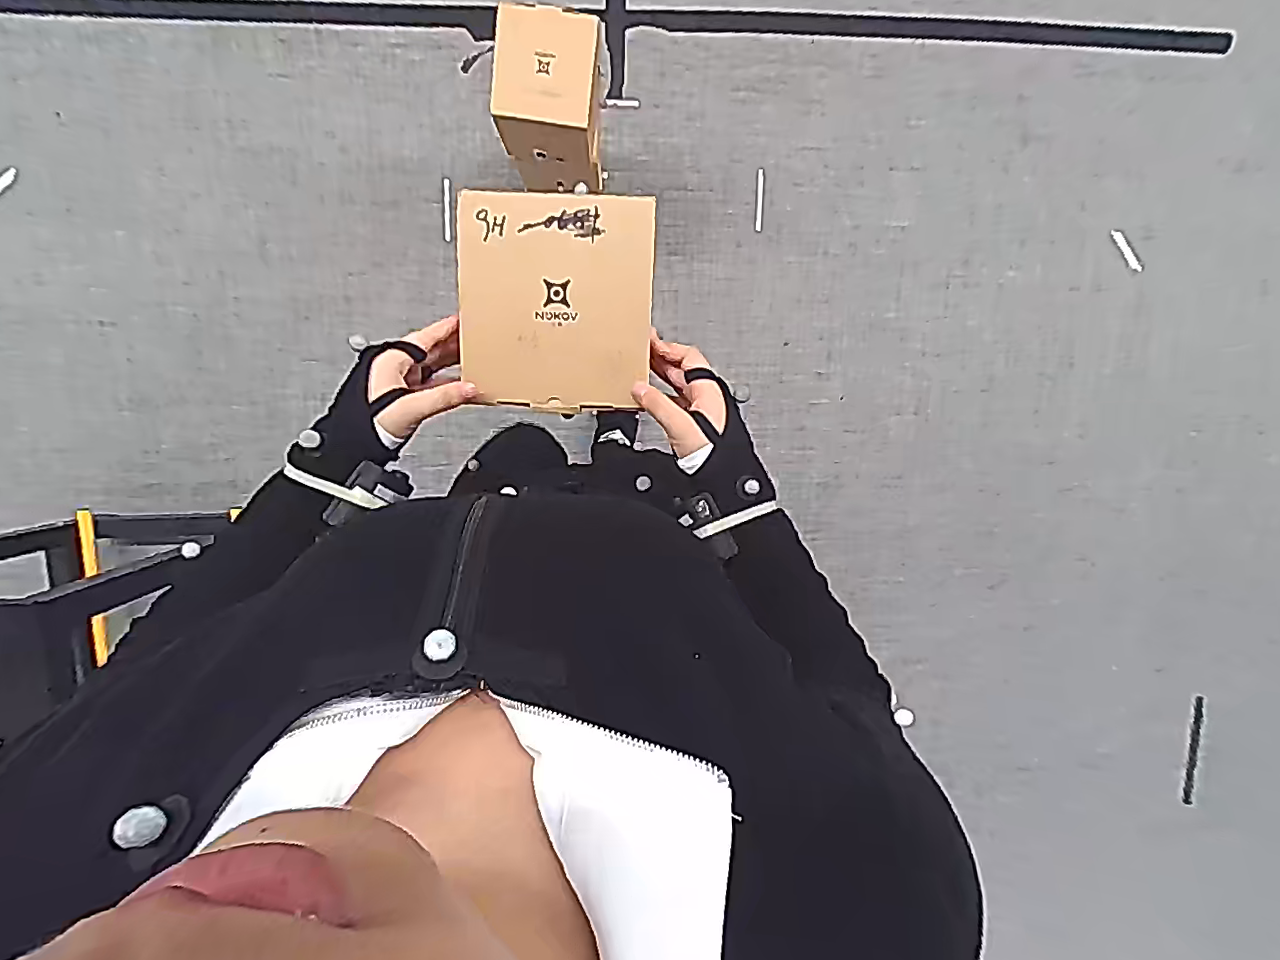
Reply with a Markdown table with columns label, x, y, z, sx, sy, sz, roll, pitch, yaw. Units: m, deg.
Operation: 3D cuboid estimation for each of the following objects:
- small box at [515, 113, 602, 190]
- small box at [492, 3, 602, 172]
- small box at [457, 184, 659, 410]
| label | x | y | z | sx | sy | sz | roll | pitch | yaw |
| --- | --- | --- | --- | --- | --- | --- | --- | --- | --- |
| small box | -0.166 | -0.715 | 1.125 | 0.168 | 0.176 | 0.179 | 1 | 98 | -3 |
| small box | -0.158 | -0.686 | 0.965 | 0.168 | 0.176 | 0.179 | 6 | 98 | -3 |
| small box | -0.068 | -0.167 | 0.529 | 0.168 | 0.176 | 0.179 | 2 | 102 | 1 |
